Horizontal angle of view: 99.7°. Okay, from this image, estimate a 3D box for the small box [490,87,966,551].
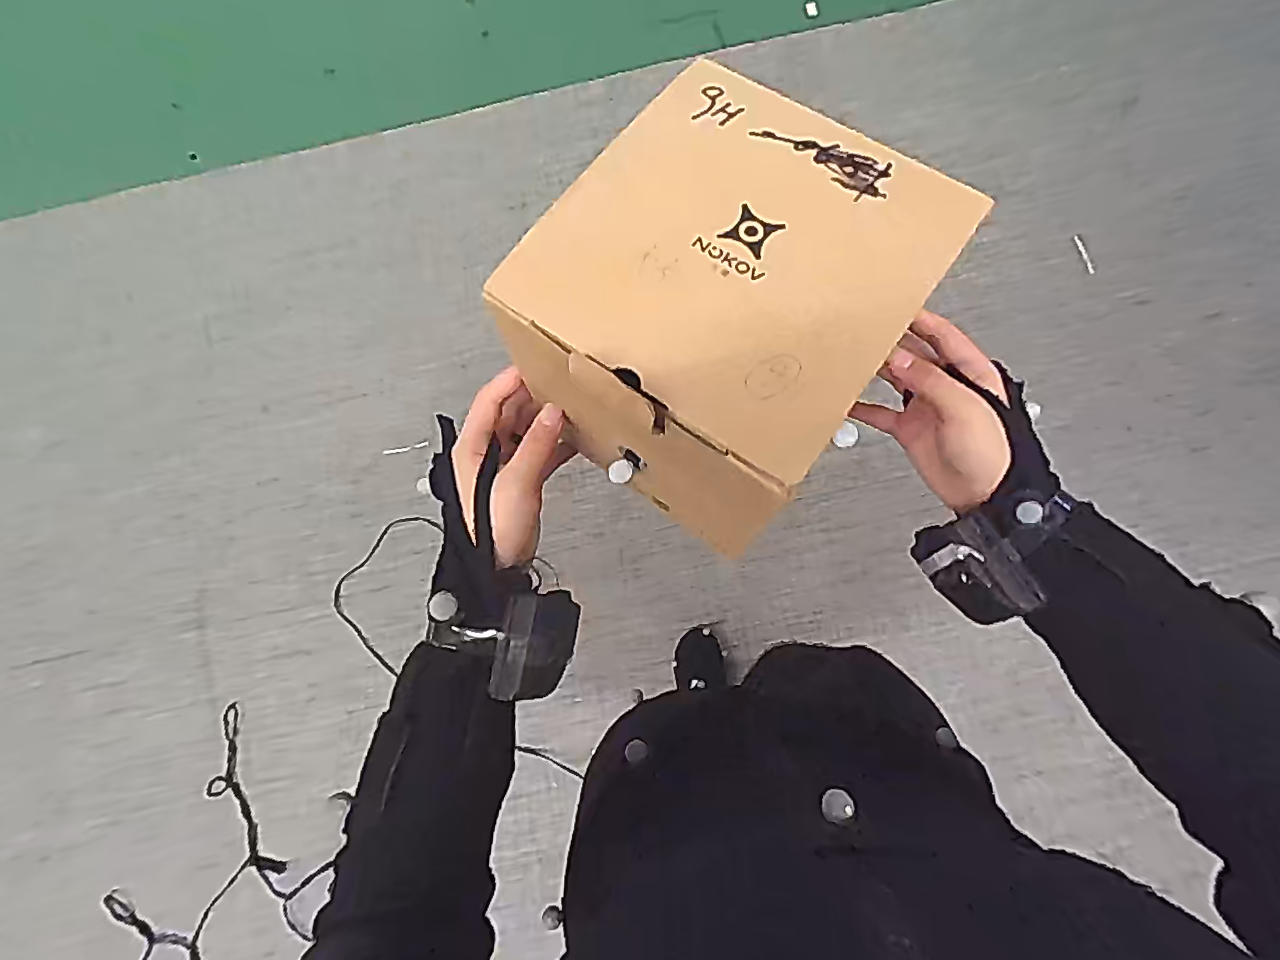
[{"bbox_3d":[0.046,-0.077,0.333,0.168,0.176,0.179,35,77,12],"label":"small box"}]
